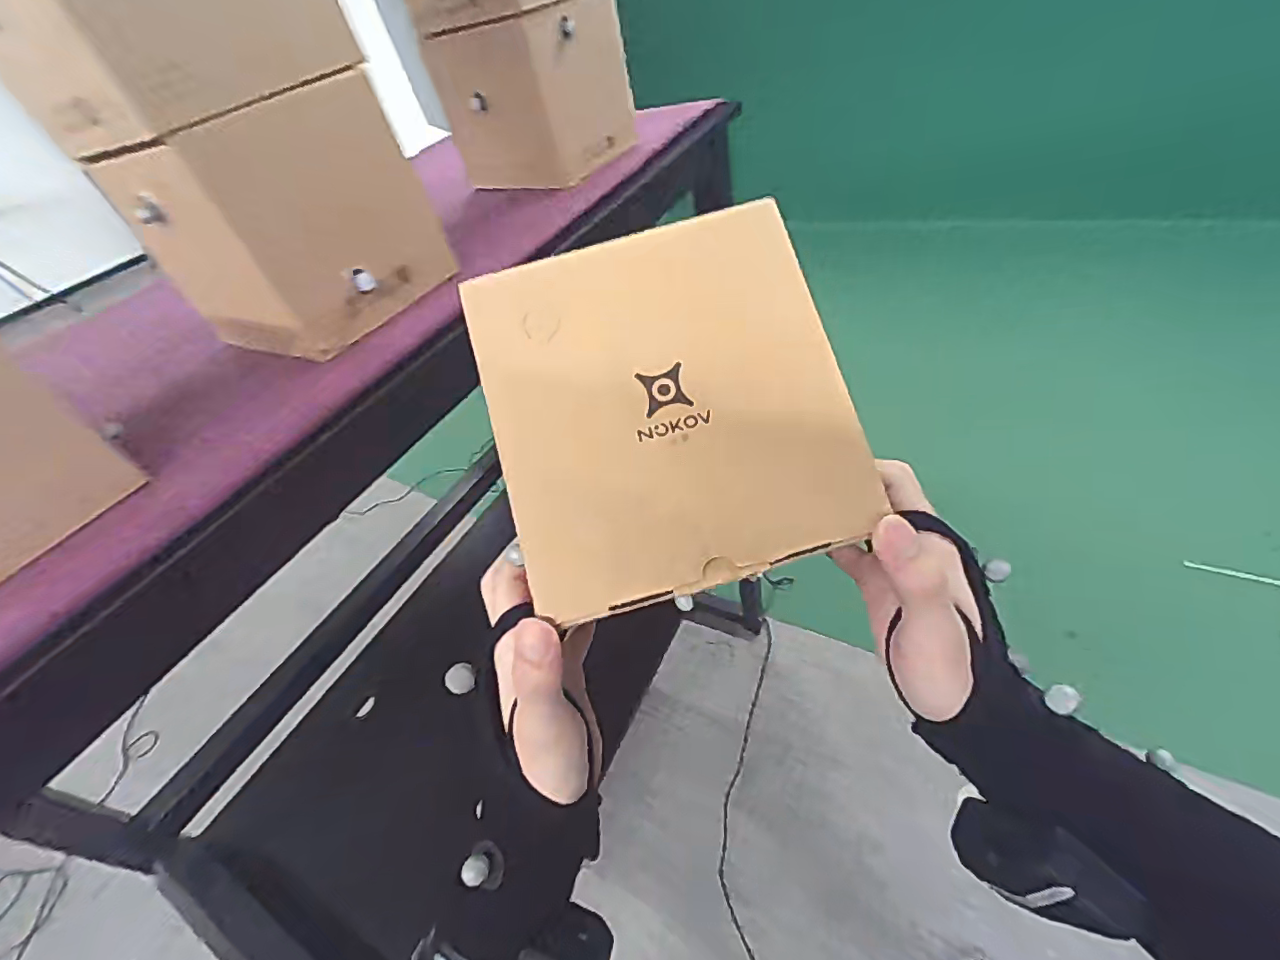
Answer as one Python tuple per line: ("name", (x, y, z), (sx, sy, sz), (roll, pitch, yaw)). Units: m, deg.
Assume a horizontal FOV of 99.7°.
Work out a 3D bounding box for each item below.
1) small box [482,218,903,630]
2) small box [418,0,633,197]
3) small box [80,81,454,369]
("small box", (0.020, -0.018, 0.337), (0.168, 0.176, 0.179), (-16, 79, -2))
("small box", (-0.134, -0.477, 0.689), (0.179, 0.176, 0.168), (16, 53, 30))
("small box", (-0.304, -0.215, 0.472), (0.179, 0.176, 0.168), (15, 52, 30))
